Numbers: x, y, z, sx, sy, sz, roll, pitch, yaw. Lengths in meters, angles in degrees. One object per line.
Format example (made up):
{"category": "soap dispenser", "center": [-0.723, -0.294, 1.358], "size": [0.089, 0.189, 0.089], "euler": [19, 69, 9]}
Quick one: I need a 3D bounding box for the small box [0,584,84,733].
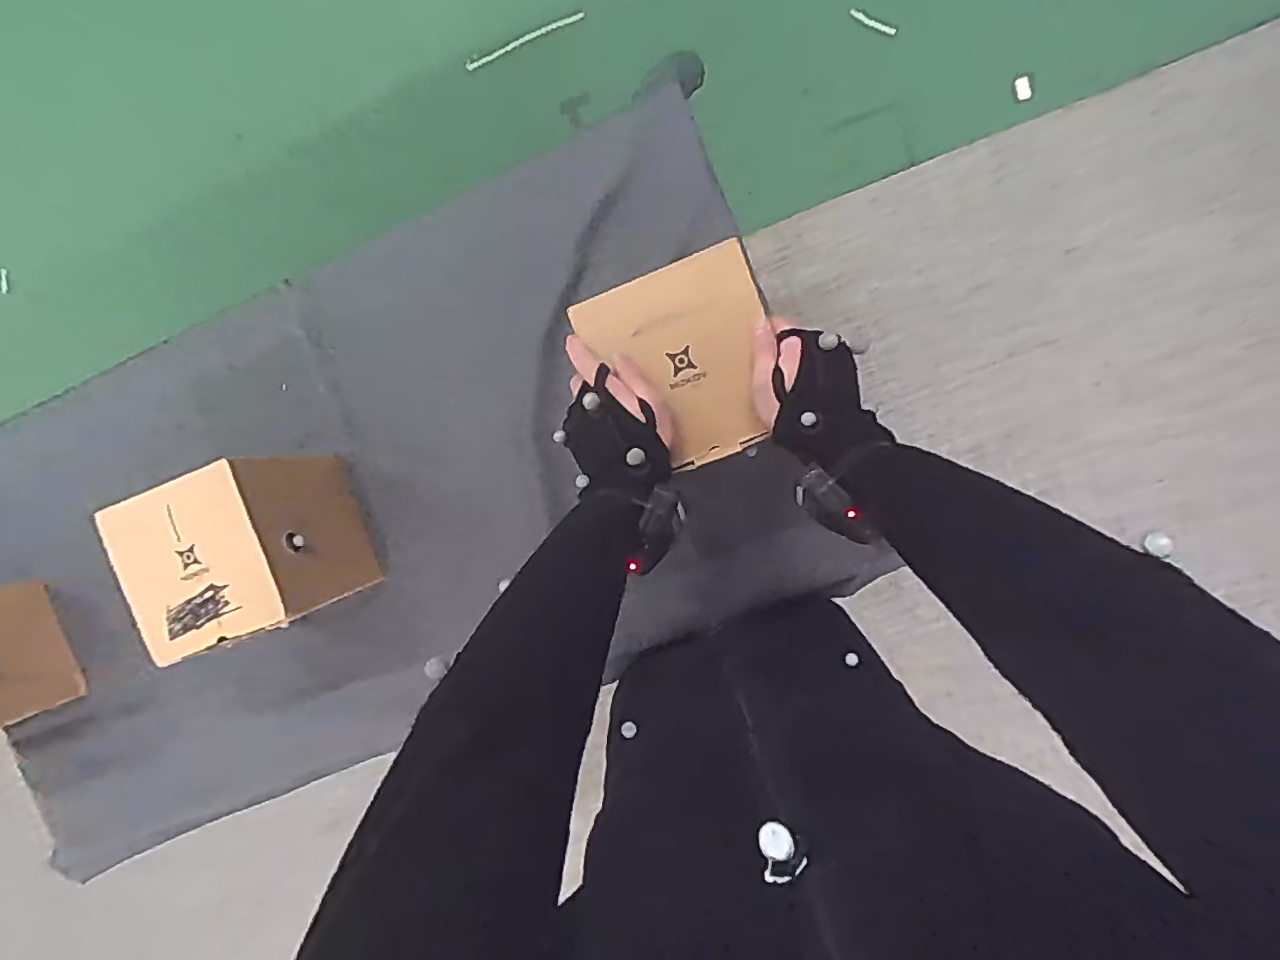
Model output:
{"category": "small box", "center": [-0.882, 0.256, 0.685], "size": [0.168, 0.176, 0.179], "euler": [-22, 92, 6]}

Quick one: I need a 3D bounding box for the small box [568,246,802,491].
{"category": "small box", "center": [0.048, -0.102, 0.562], "size": [0.168, 0.176, 0.179], "euler": [-22, 91, 6]}

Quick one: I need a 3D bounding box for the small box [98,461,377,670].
{"category": "small box", "center": [-0.444, 0.085, 0.627], "size": [0.168, 0.176, 0.179], "euler": [-20, 91, 7]}
